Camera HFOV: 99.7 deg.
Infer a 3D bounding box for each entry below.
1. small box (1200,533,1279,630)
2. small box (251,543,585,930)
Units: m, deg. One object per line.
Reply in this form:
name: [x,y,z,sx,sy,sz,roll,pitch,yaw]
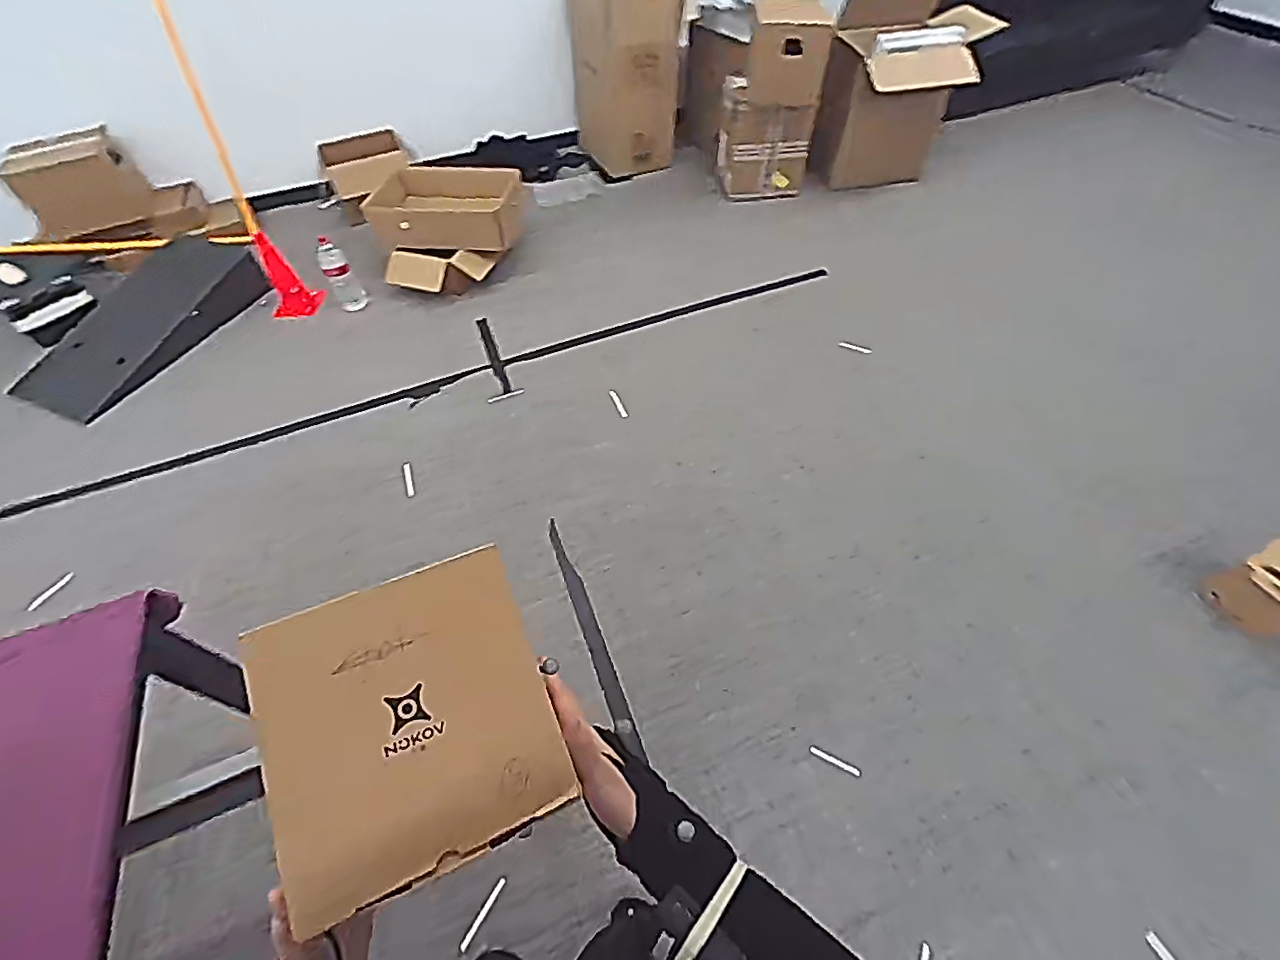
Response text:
small box: [1.692,0.277,1.457,0.179,0.176,0.168,-21,55,-13]
small box: [-0.150,0.174,0.410,0.168,0.176,0.179,-20,71,-17]
